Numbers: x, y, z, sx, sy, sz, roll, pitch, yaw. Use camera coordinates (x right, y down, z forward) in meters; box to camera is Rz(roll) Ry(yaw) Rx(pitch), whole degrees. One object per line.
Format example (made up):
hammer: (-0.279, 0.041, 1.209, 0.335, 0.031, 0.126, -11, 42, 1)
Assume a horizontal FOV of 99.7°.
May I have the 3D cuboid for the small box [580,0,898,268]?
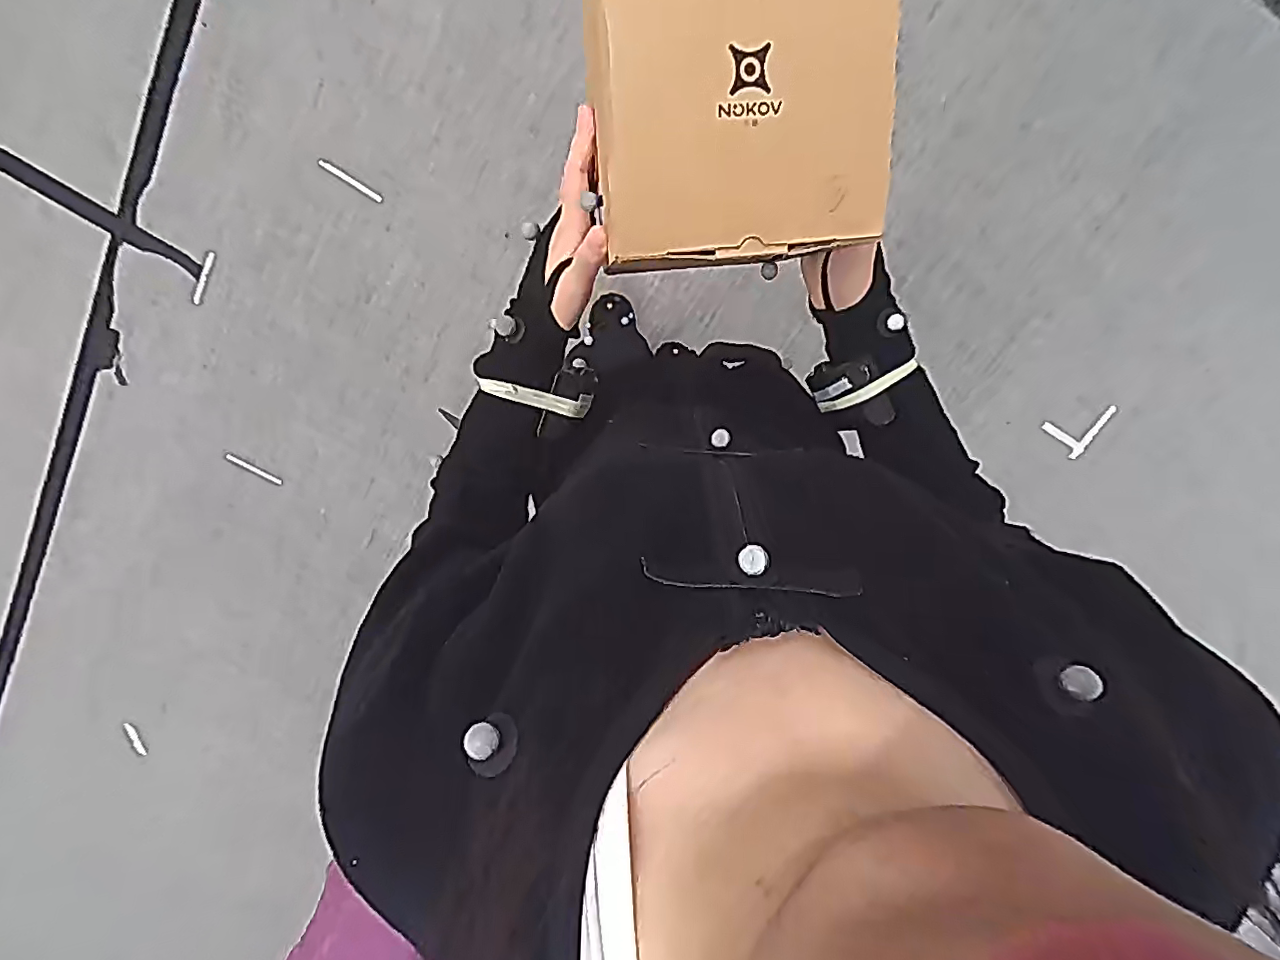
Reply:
small box: (0.050, -0.243, 0.367, 0.168, 0.176, 0.179, -7, 108, -5)
